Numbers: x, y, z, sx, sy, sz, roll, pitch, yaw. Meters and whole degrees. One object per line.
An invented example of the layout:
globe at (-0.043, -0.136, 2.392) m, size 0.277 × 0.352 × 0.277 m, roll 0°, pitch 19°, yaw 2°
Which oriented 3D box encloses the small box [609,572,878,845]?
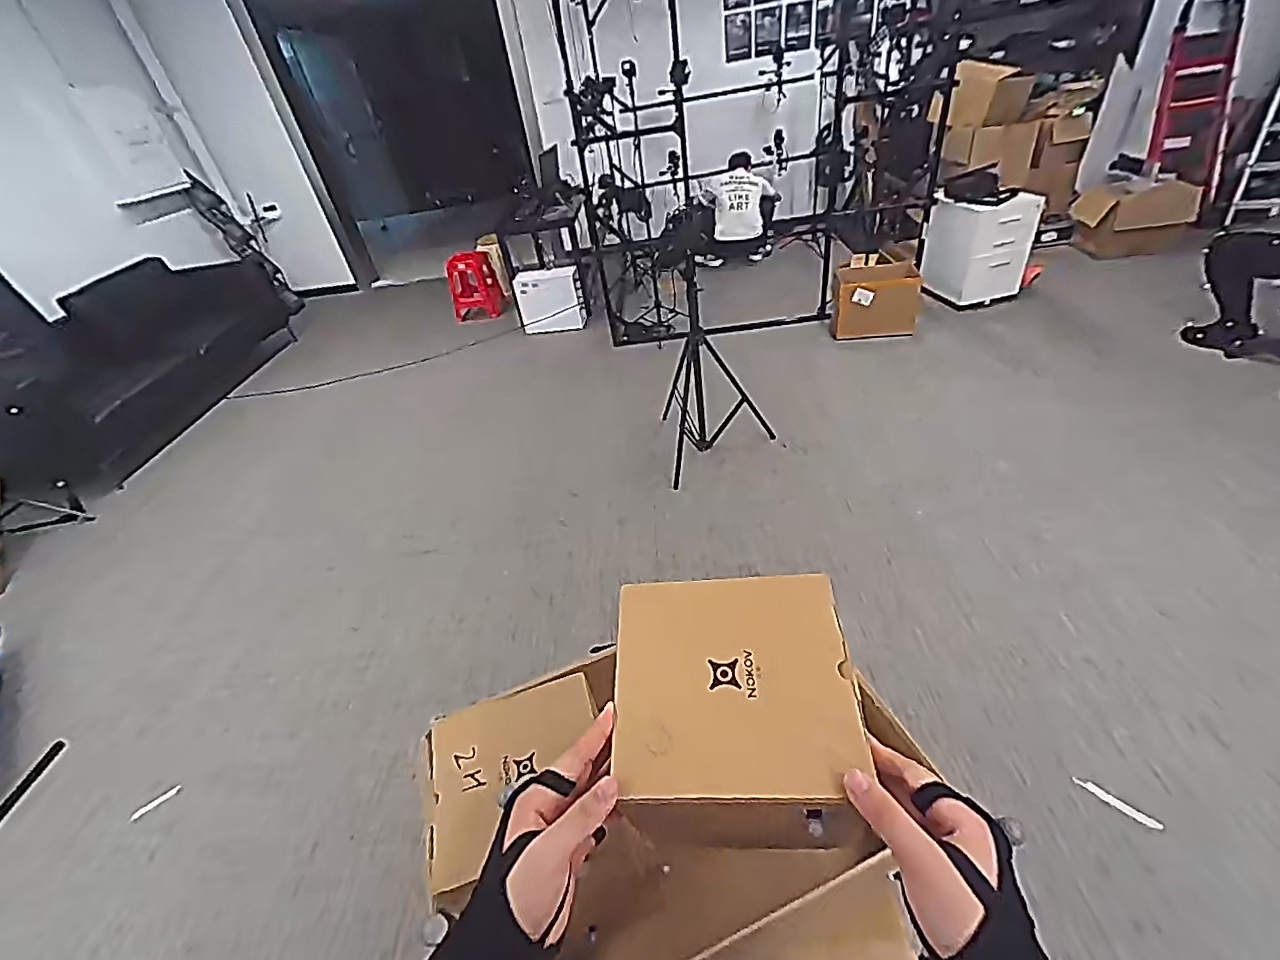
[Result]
small box at (0.080, 0.197, 0.459) m, size 0.179 × 0.176 × 0.168 m, roll -5°, pitch 46°, yaw 7°

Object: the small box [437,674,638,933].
small box at (-0.107, 0.352, 0.594) m, size 0.179 × 0.176 × 0.168 m, roll -17°, pitch 39°, yaw -8°
